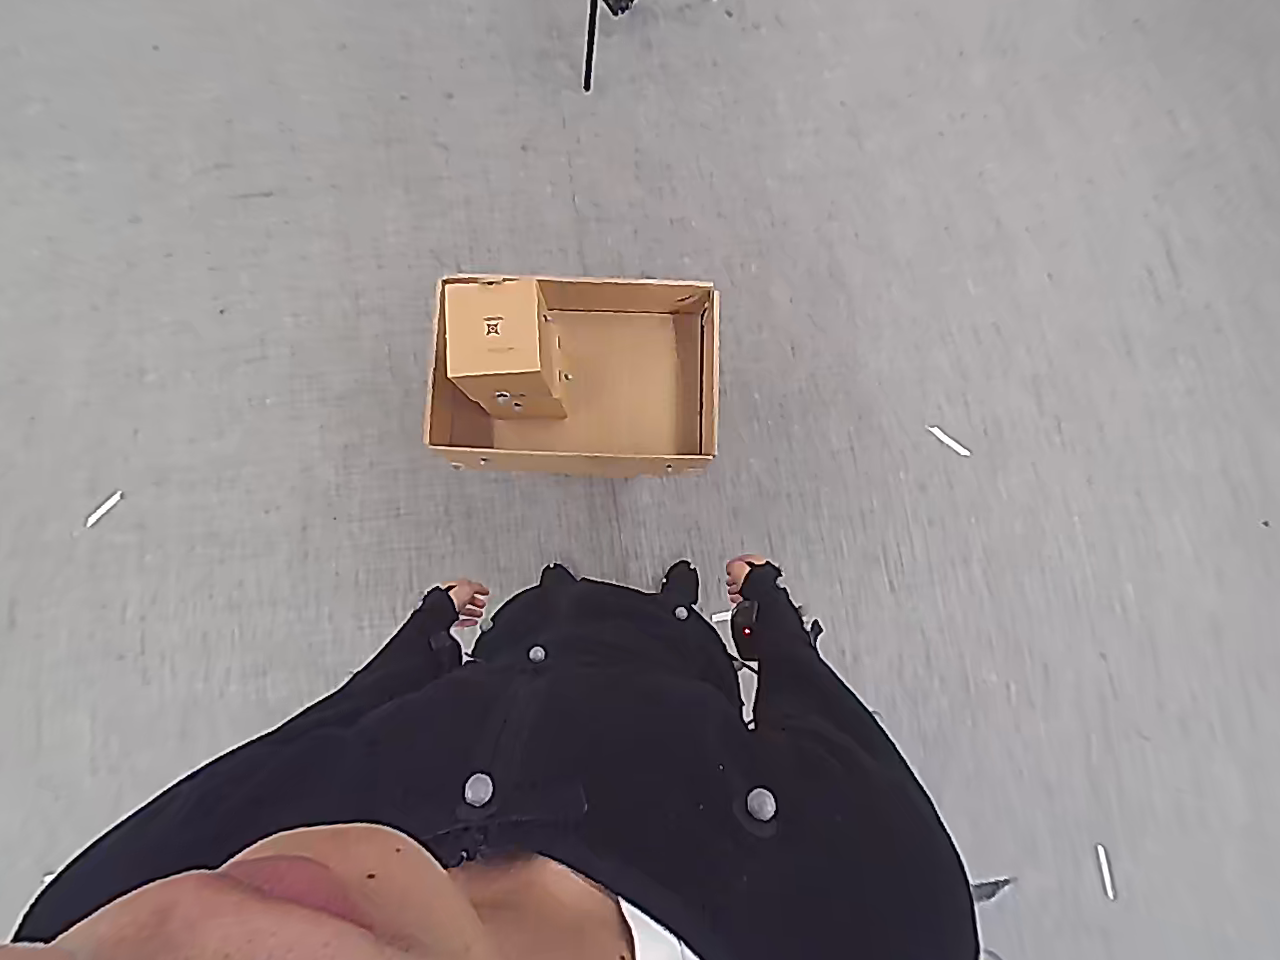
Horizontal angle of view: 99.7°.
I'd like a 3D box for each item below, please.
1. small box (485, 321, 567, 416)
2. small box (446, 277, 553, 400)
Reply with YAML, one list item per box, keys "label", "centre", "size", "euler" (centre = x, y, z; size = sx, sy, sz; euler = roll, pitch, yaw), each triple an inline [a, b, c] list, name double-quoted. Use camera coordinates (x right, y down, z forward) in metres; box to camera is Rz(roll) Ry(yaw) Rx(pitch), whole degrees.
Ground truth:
- label: "small box"
  centre: [-0.257, -0.242, 1.200]
  size: [0.179, 0.176, 0.168]
  euler: [-1, 83, -3]
- label: "small box"
  centre: [-0.263, -0.264, 1.037]
  size: [0.168, 0.176, 0.179]
  euler: [-4, 82, -1]
